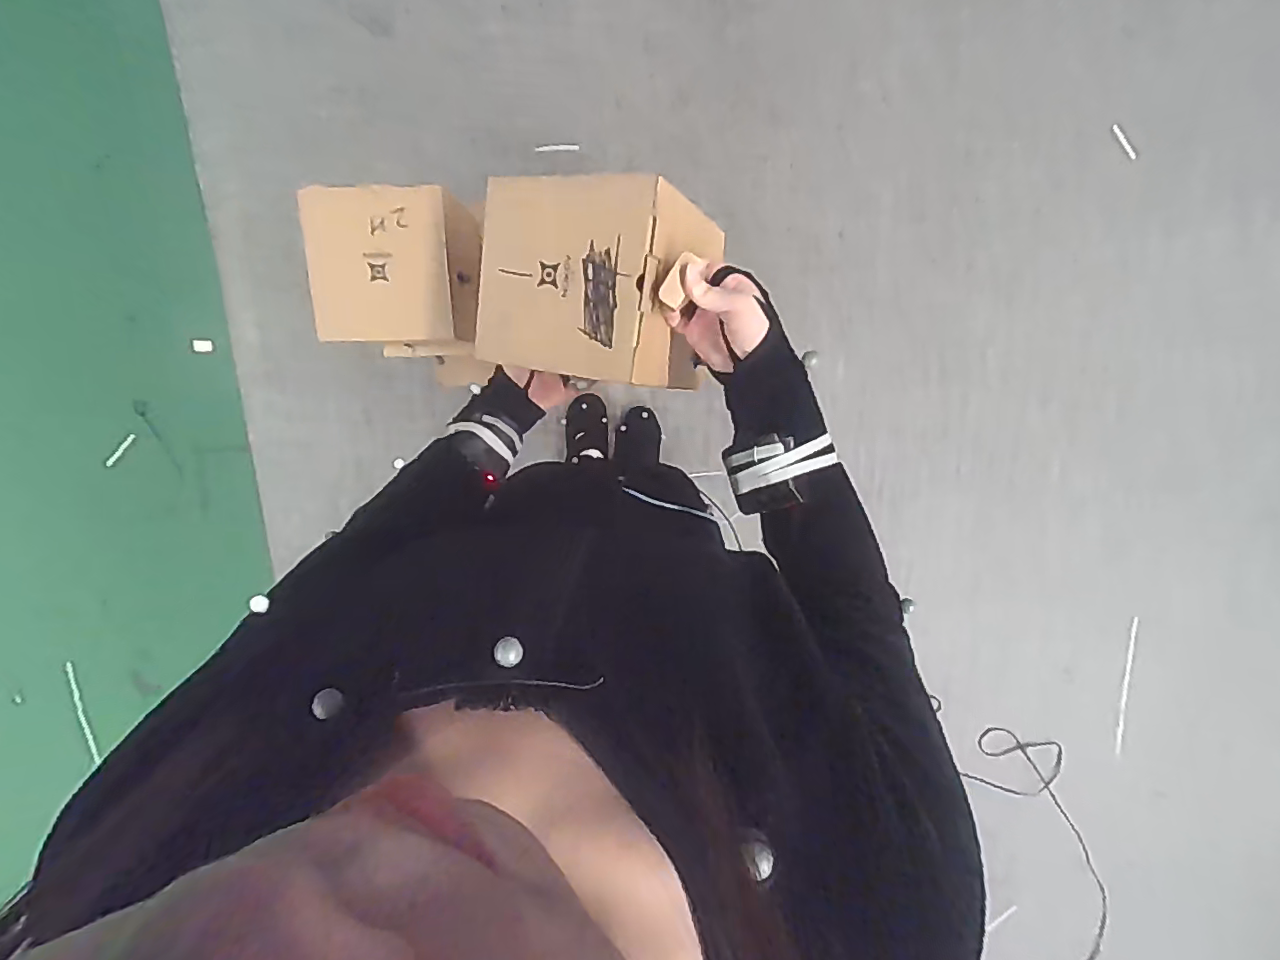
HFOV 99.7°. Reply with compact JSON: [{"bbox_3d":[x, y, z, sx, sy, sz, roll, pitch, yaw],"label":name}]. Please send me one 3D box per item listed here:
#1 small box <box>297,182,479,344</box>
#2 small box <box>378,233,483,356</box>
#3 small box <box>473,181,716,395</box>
[{"bbox_3d":[-0.311,-0.271,0.712,0.168,0.176,0.179,0,102,-3],"label":"small box"},{"bbox_3d":[-0.316,-0.293,0.875,0.168,0.176,0.179,-2,102,-2],"label":"small box"},{"bbox_3d":[-0.038,-0.181,0.542,0.179,0.176,0.168,15,103,24],"label":"small box"}]
